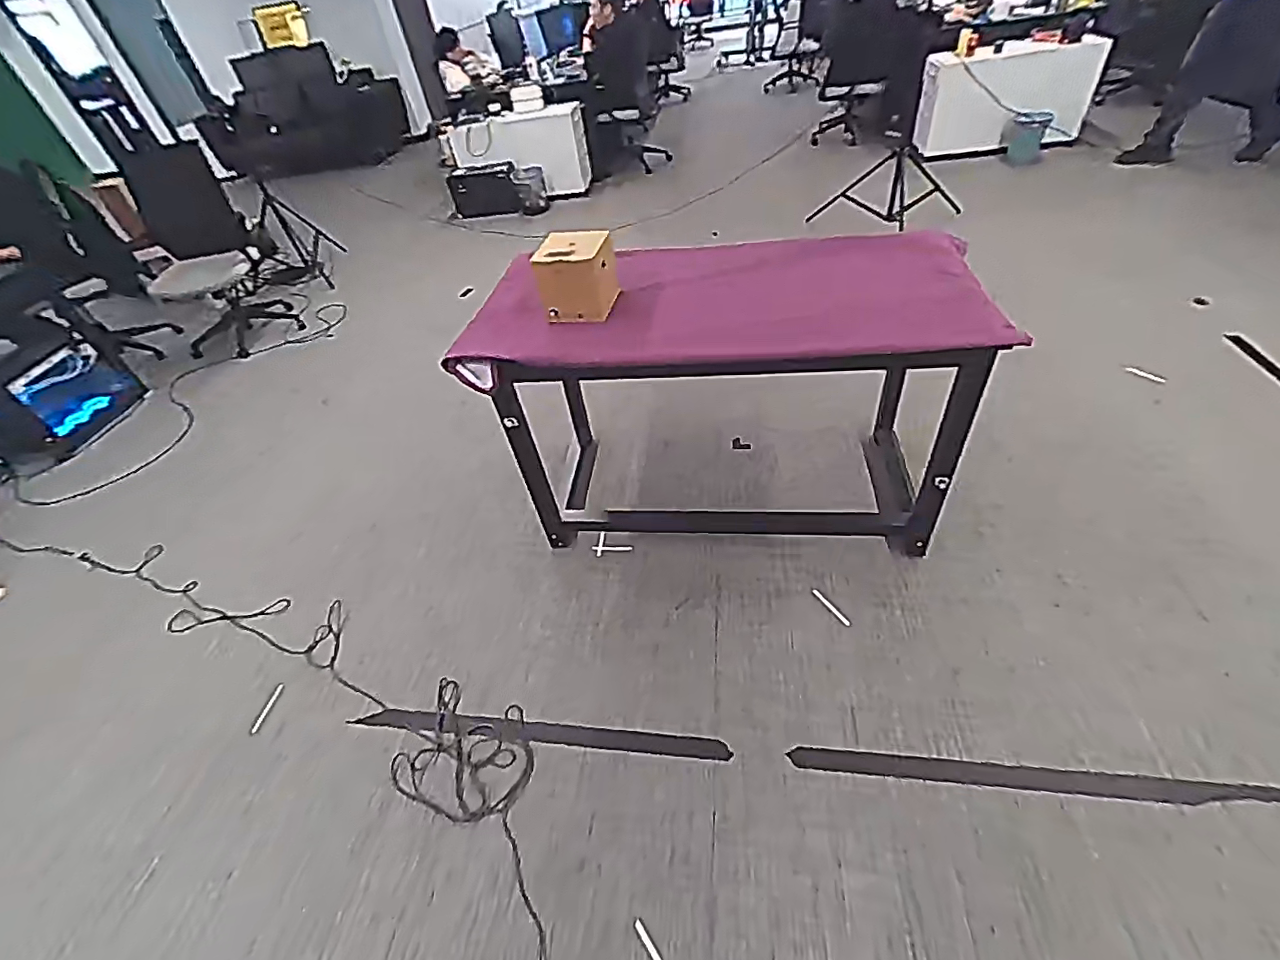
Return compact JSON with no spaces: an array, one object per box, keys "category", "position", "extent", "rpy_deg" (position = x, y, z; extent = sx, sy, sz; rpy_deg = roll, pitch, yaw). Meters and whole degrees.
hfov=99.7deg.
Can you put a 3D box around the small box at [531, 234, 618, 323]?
[{"category":"small box","position":[-0.163,-0.526,1.420],"extent":[0.168,0.176,0.179],"rpy_deg":[4,46,14]}]
